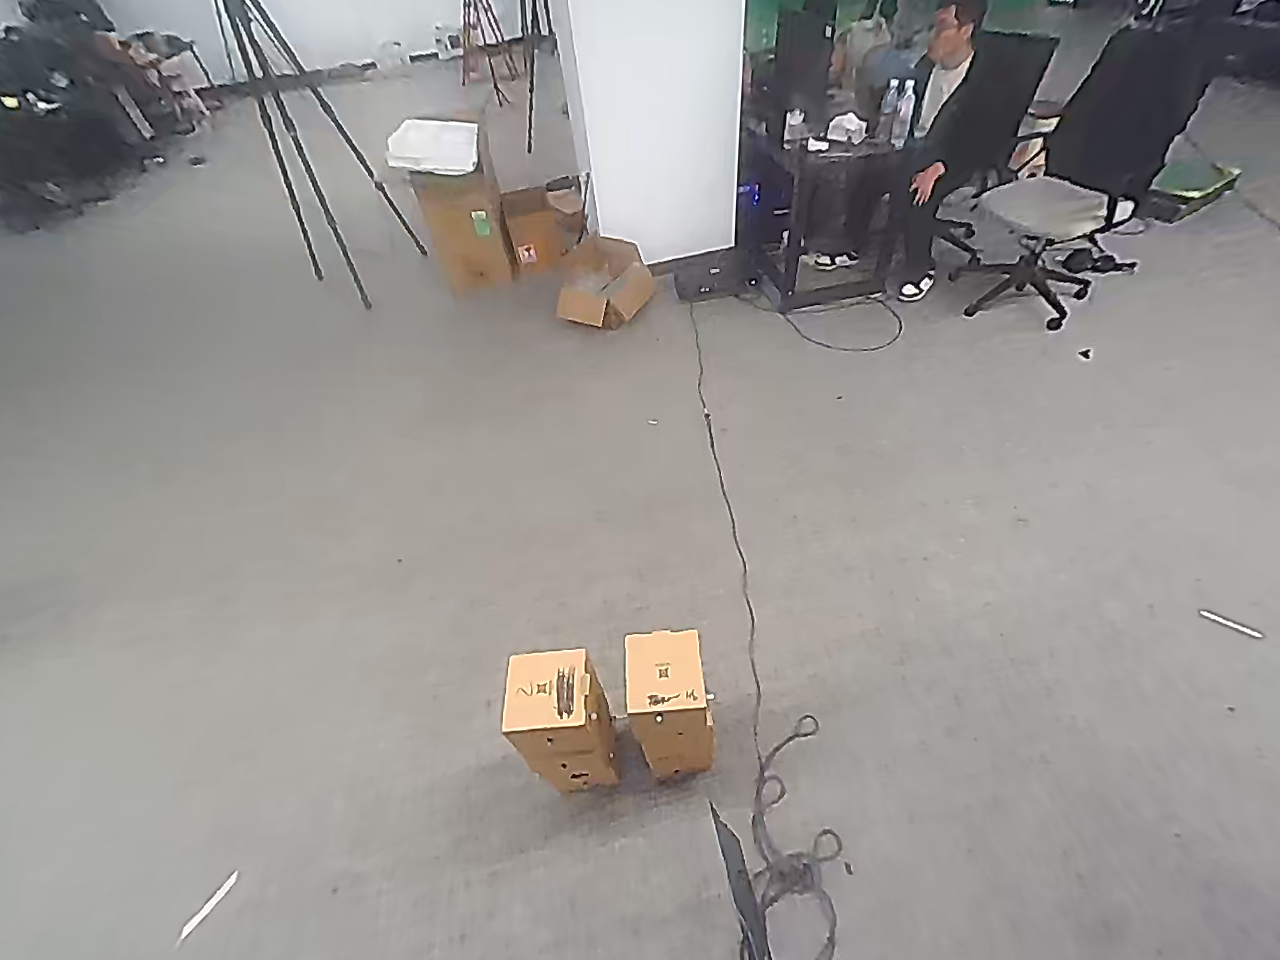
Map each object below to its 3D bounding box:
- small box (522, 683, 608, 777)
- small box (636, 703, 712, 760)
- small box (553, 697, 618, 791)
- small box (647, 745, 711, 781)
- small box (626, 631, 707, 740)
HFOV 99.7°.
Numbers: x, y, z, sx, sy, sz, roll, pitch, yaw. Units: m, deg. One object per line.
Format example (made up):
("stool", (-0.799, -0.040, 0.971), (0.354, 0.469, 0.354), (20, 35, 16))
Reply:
("small box", (-0.173, 0.613, 1.322), (0.179, 0.176, 0.168), (-6, 47, 3))
("small box", (0.075, 0.571, 1.336), (0.179, 0.176, 0.168), (-10, 47, -2))
("small box", (-0.155, 0.711, 1.454), (0.168, 0.176, 0.179), (-9, 48, 0))
("small box", (0.090, 0.680, 1.456), (0.168, 0.176, 0.179), (-12, 48, -3))
("small box", (0.058, 0.463, 1.214), (0.168, 0.176, 0.179), (-5, 46, 3))
